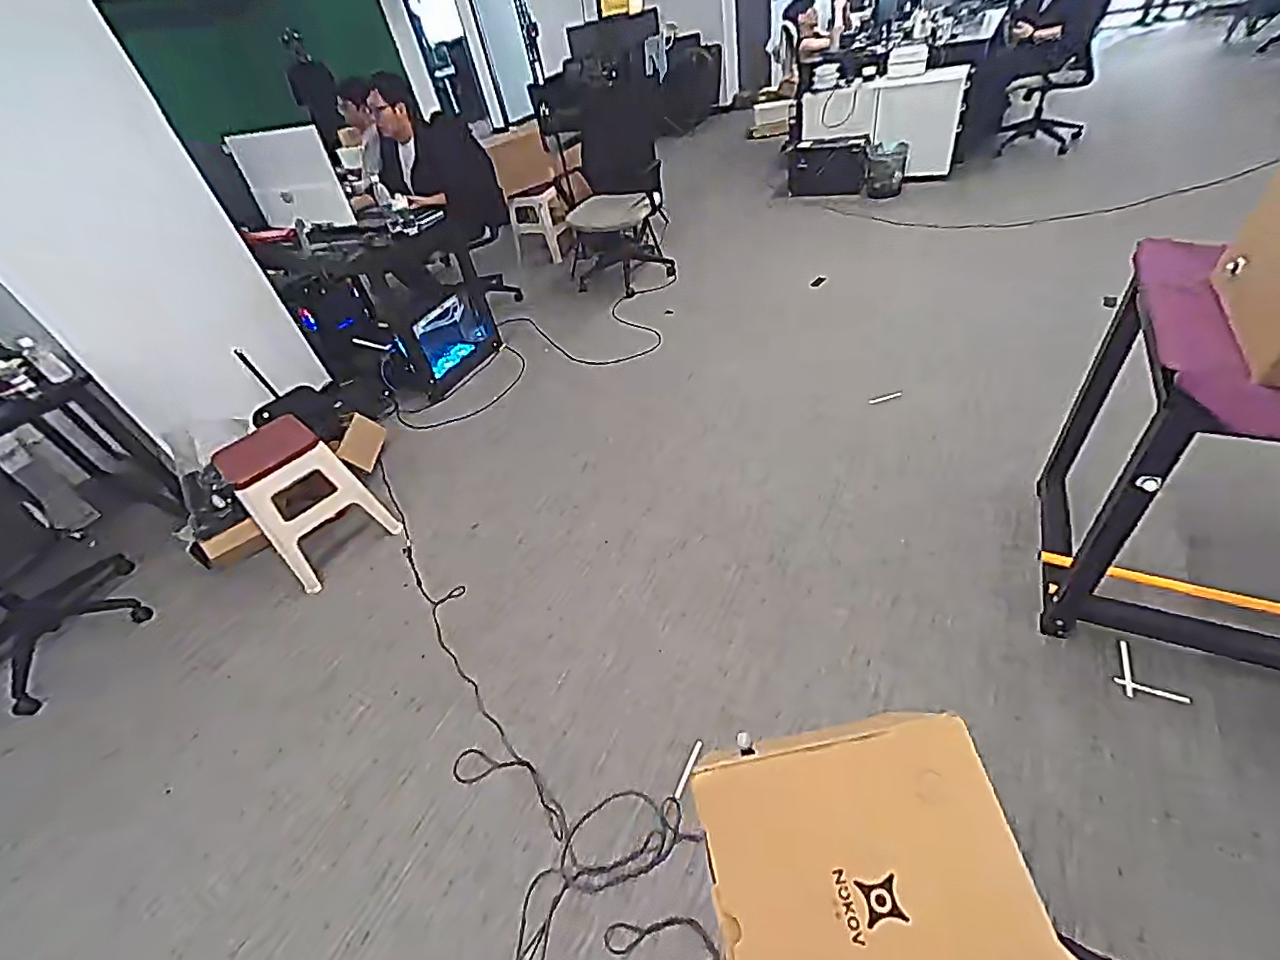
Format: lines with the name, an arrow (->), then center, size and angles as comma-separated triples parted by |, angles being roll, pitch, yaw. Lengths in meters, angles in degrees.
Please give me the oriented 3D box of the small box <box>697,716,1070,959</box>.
small box -> 0.149, 0.269, 0.379 | 0.179, 0.176, 0.168 | -16, 64, 5
